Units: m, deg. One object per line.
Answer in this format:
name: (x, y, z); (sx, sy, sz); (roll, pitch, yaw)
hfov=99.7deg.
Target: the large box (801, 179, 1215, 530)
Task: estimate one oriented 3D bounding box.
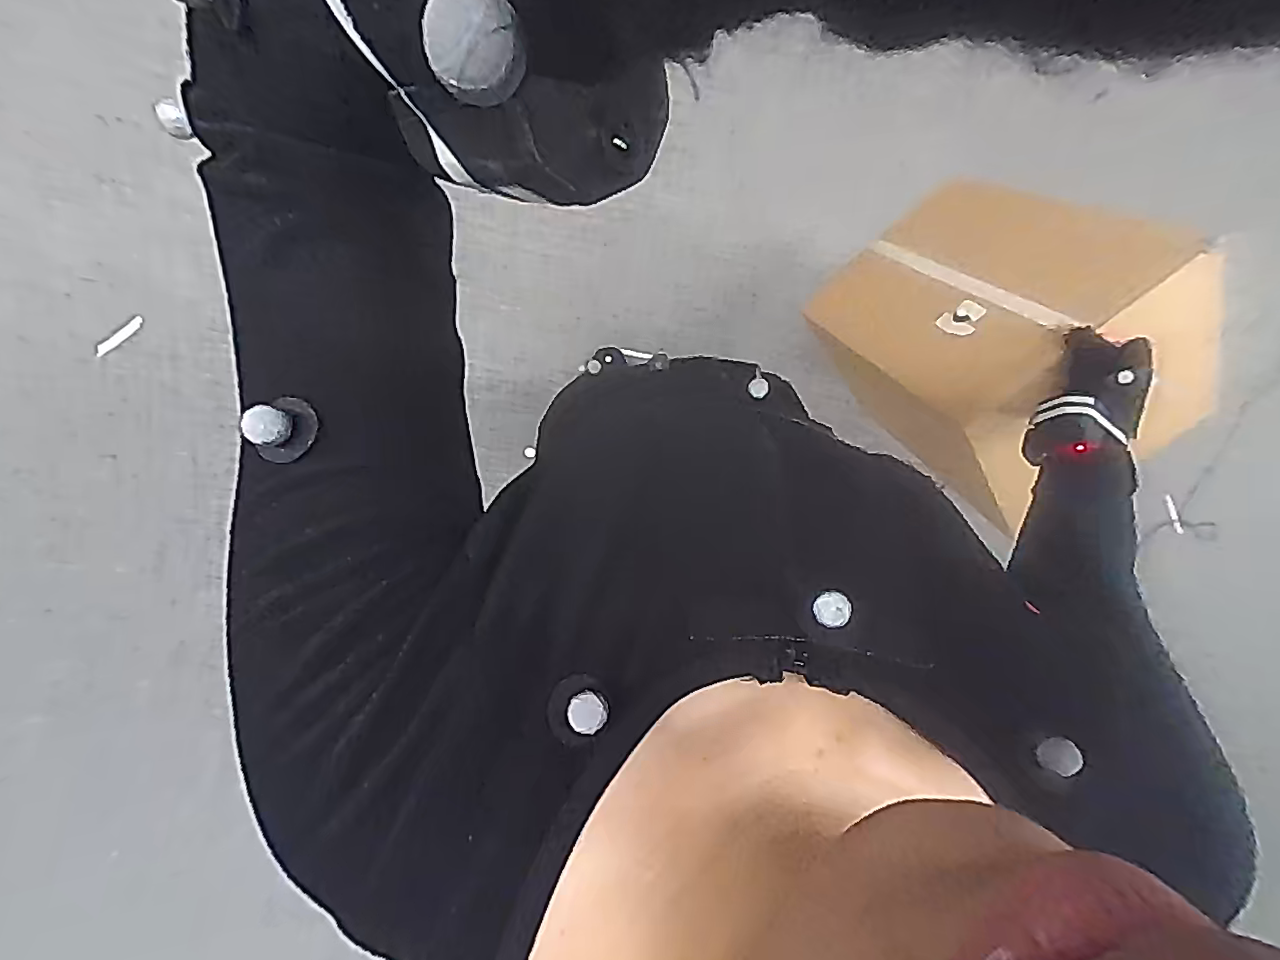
large box: (0.534, -0.202, 0.853); (0.320, 0.408, 0.320); (-40, 131, 13)
